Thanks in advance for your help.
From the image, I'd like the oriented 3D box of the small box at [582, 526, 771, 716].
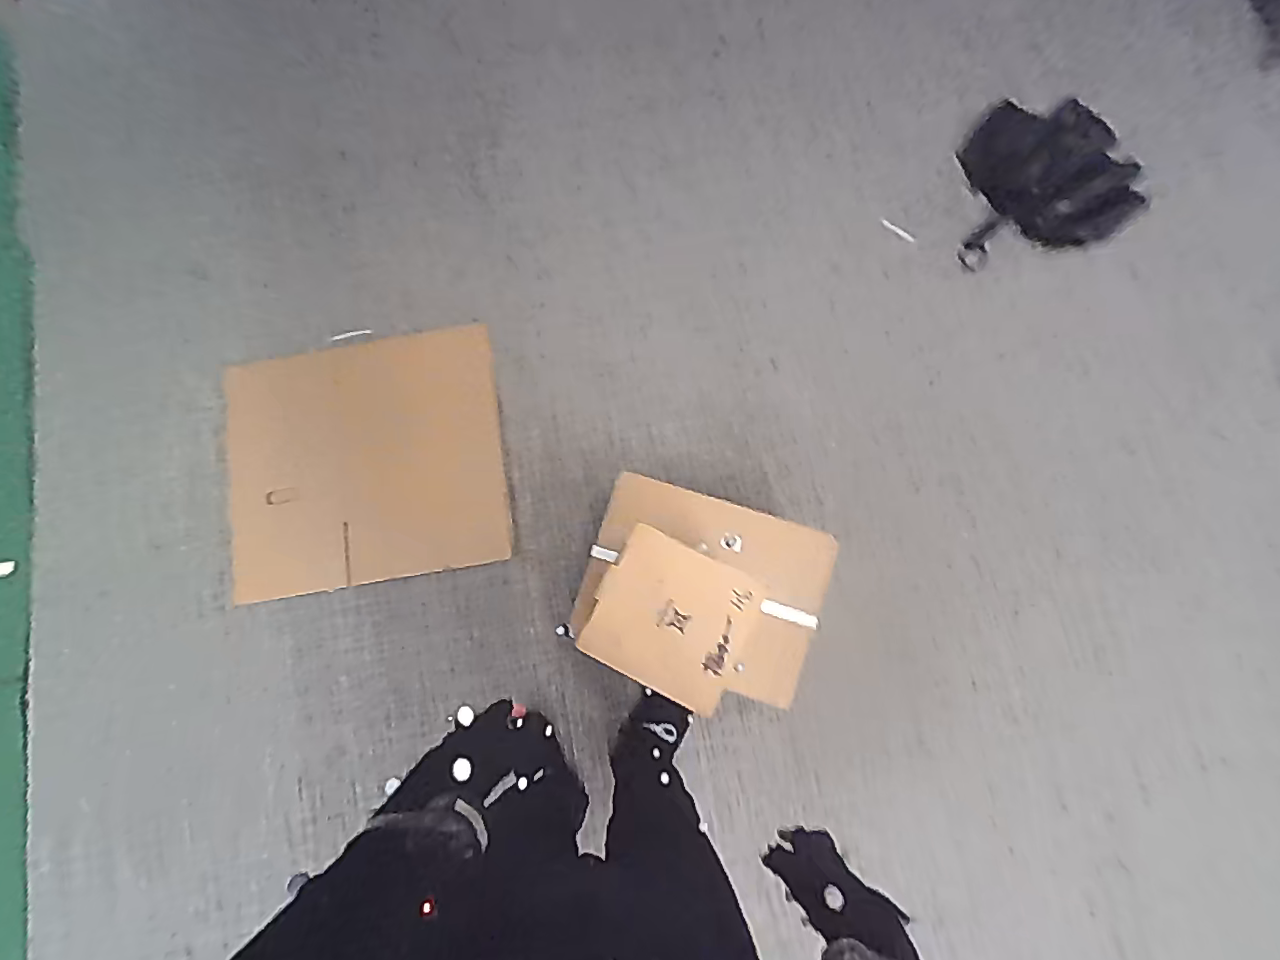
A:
[{"bbox_3d":[0.047,0.177,0.706,0.179,0.176,0.168,23,81,7],"label":"small box"}]
